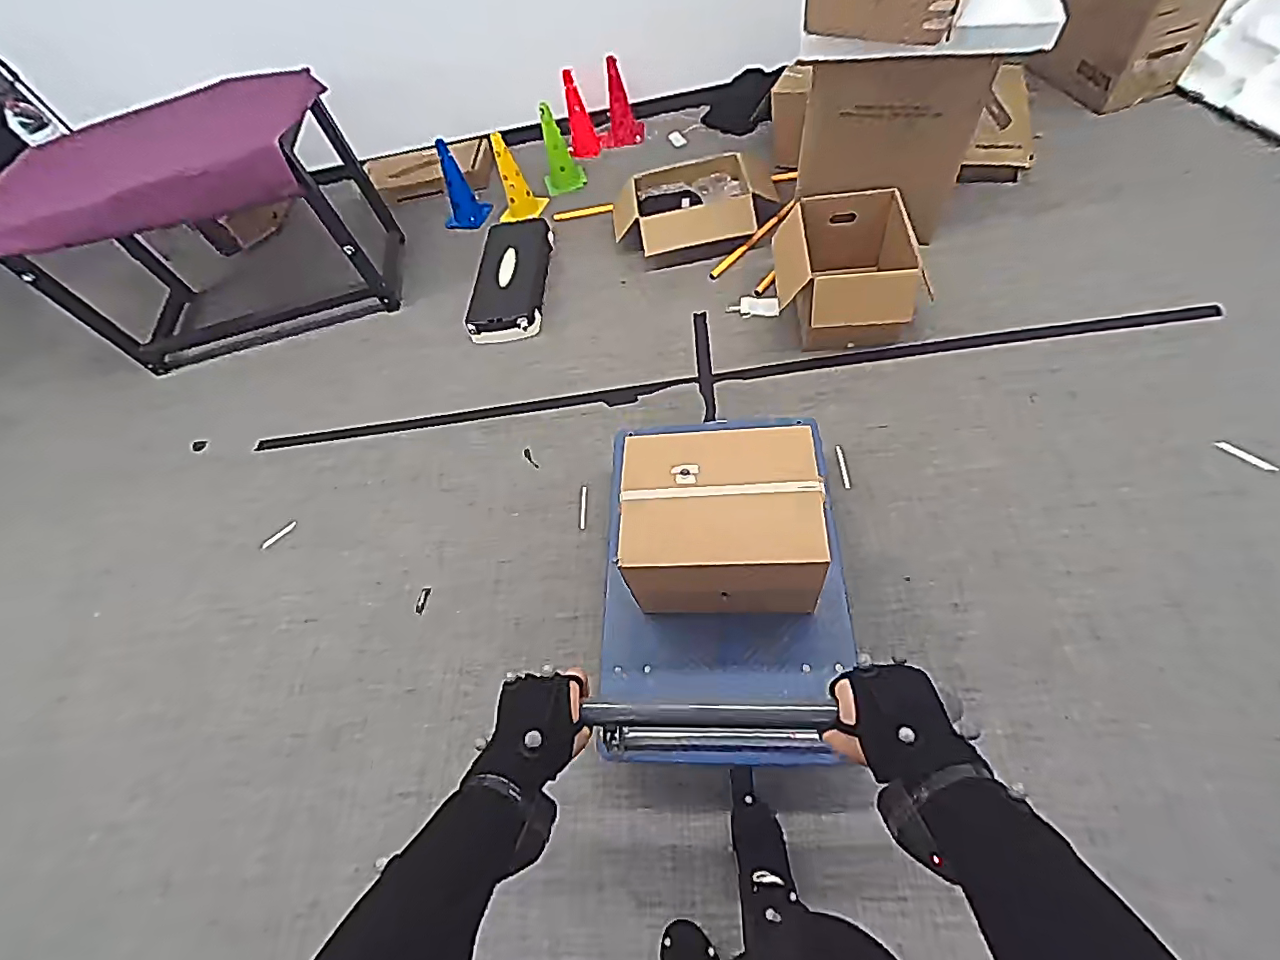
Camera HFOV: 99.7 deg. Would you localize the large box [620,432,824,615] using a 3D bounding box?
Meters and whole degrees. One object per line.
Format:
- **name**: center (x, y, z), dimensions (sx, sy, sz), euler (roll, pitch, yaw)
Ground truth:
- **large box**: center (0.185, 0.117, 1.251), dimensions (0.408, 0.320, 0.320), euler (-4, 58, 10)
